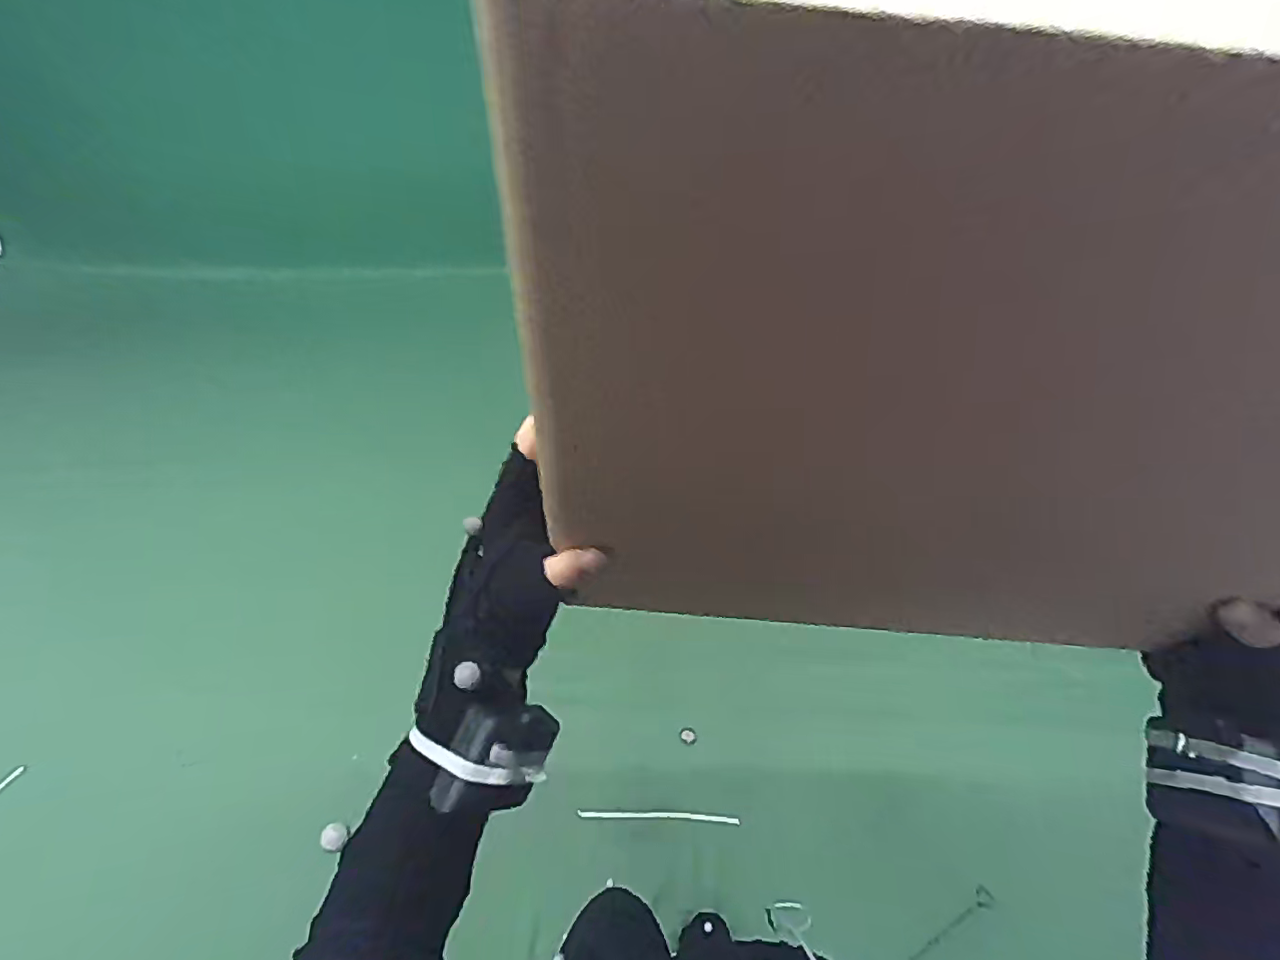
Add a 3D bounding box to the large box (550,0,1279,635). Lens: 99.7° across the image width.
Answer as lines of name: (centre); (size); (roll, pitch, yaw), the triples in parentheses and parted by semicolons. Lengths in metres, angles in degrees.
large box: (0.168, -0.116, 0.323); (0.408, 0.320, 0.320); (5, 55, -3)
